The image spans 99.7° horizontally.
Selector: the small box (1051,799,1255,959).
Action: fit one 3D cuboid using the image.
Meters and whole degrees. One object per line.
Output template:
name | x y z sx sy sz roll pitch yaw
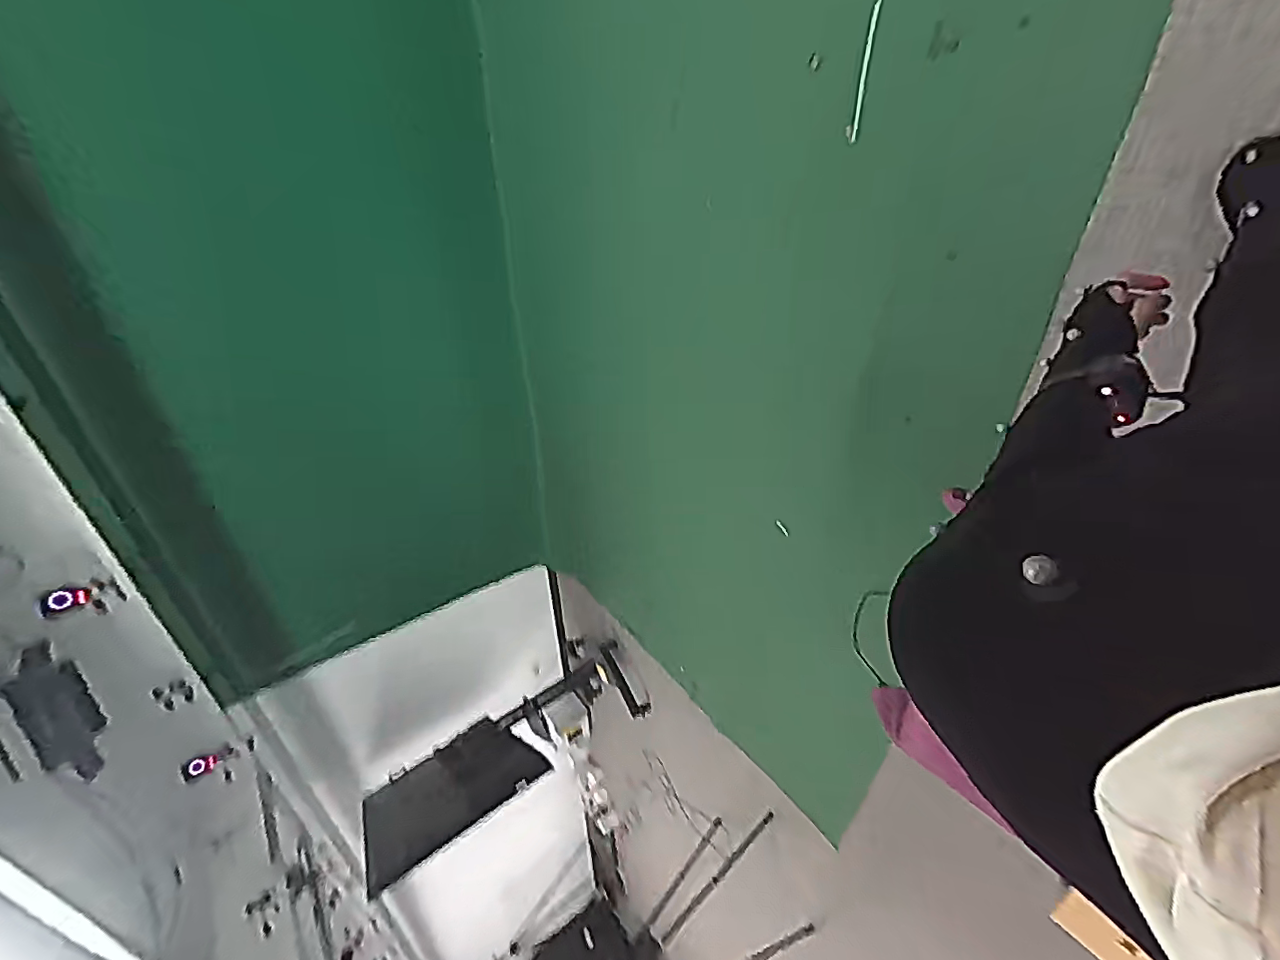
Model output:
small box | 0.804 0.658 0.852 0.168 0.176 0.179 34 135 43
